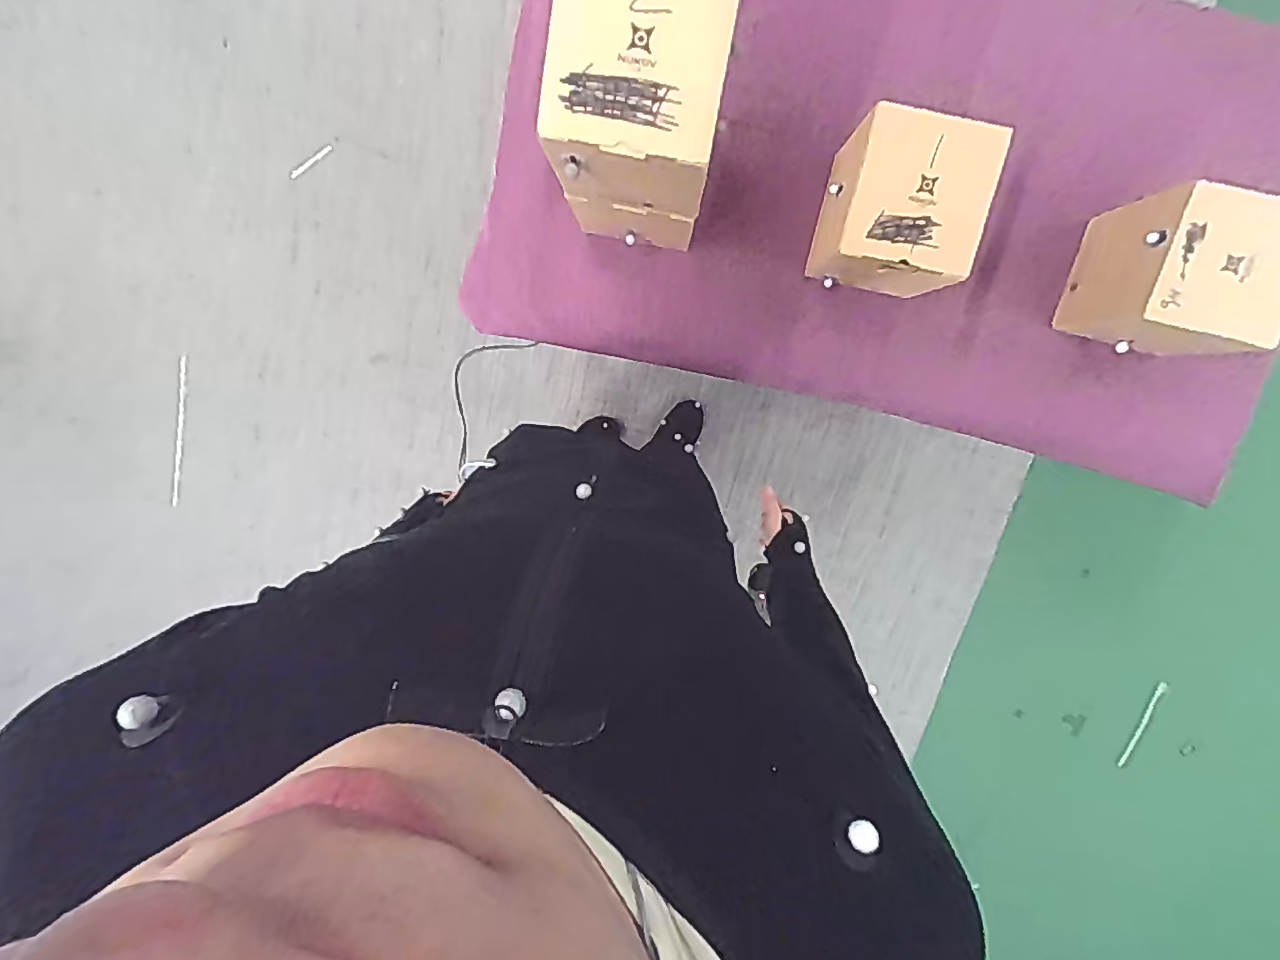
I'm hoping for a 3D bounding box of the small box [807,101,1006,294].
[{"bbox_3d":[0.340,-0.363,0.732,0.168,0.176,0.179,12,100,-1],"label":"small box"}]

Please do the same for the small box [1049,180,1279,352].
[{"bbox_3d":[0.721,-0.275,0.735,0.179,0.176,0.168,14,101,-1],"label":"small box"}]

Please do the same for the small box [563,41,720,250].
[{"bbox_3d":[0.001,-0.432,0.730,0.168,0.176,0.179,11,101,0],"label":"small box"}]
